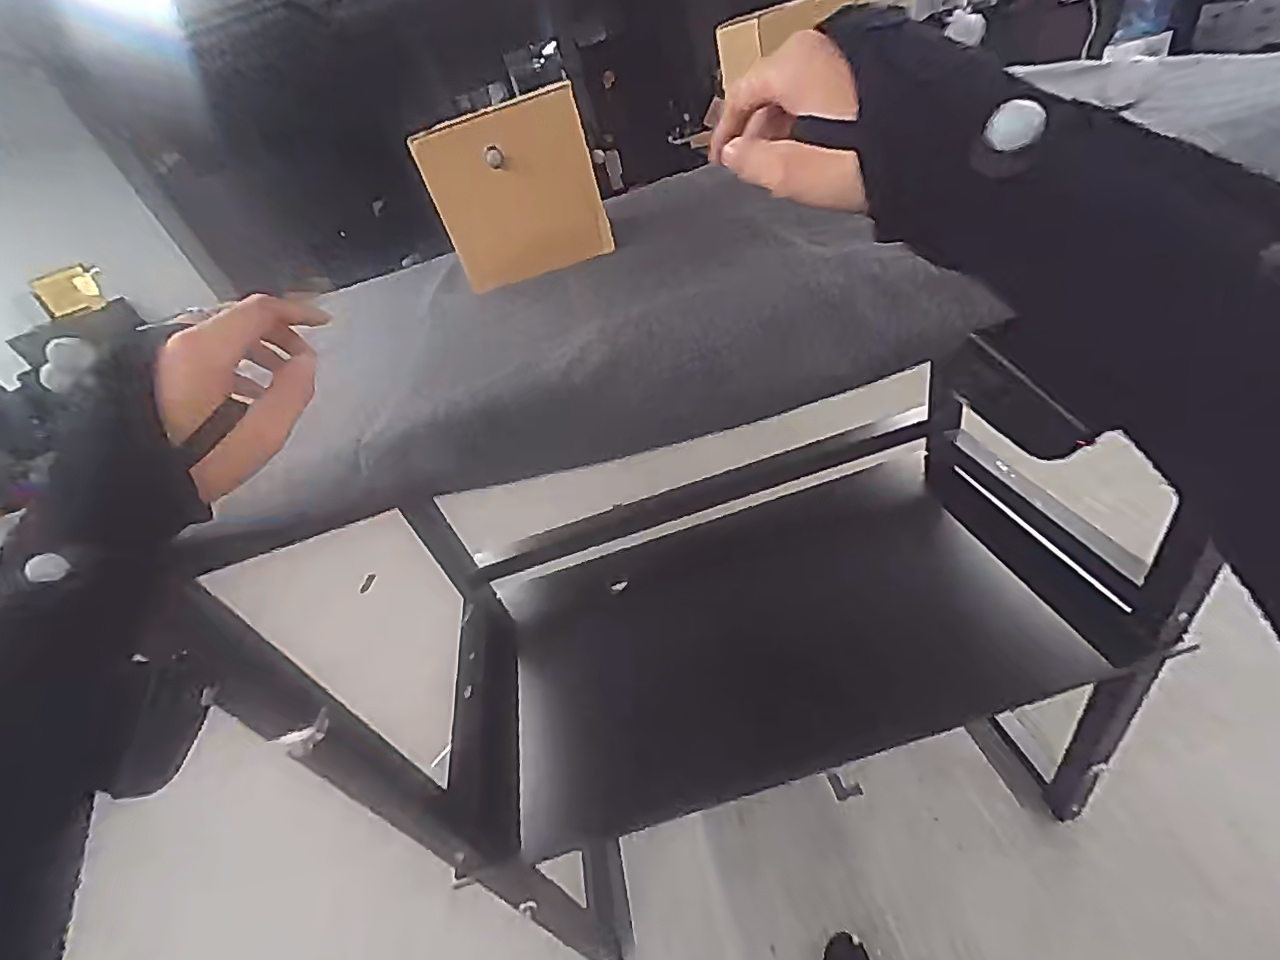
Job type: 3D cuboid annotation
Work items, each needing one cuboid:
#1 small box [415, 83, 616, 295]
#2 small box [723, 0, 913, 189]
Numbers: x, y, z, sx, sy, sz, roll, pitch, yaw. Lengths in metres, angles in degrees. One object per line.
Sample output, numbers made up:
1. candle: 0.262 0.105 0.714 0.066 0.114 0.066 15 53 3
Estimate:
1. small box: -0.131 -0.348 0.648 0.179 0.176 0.168 -16 37 5
2. small box: 0.213 -0.473 0.656 0.168 0.176 0.179 -16 36 3
